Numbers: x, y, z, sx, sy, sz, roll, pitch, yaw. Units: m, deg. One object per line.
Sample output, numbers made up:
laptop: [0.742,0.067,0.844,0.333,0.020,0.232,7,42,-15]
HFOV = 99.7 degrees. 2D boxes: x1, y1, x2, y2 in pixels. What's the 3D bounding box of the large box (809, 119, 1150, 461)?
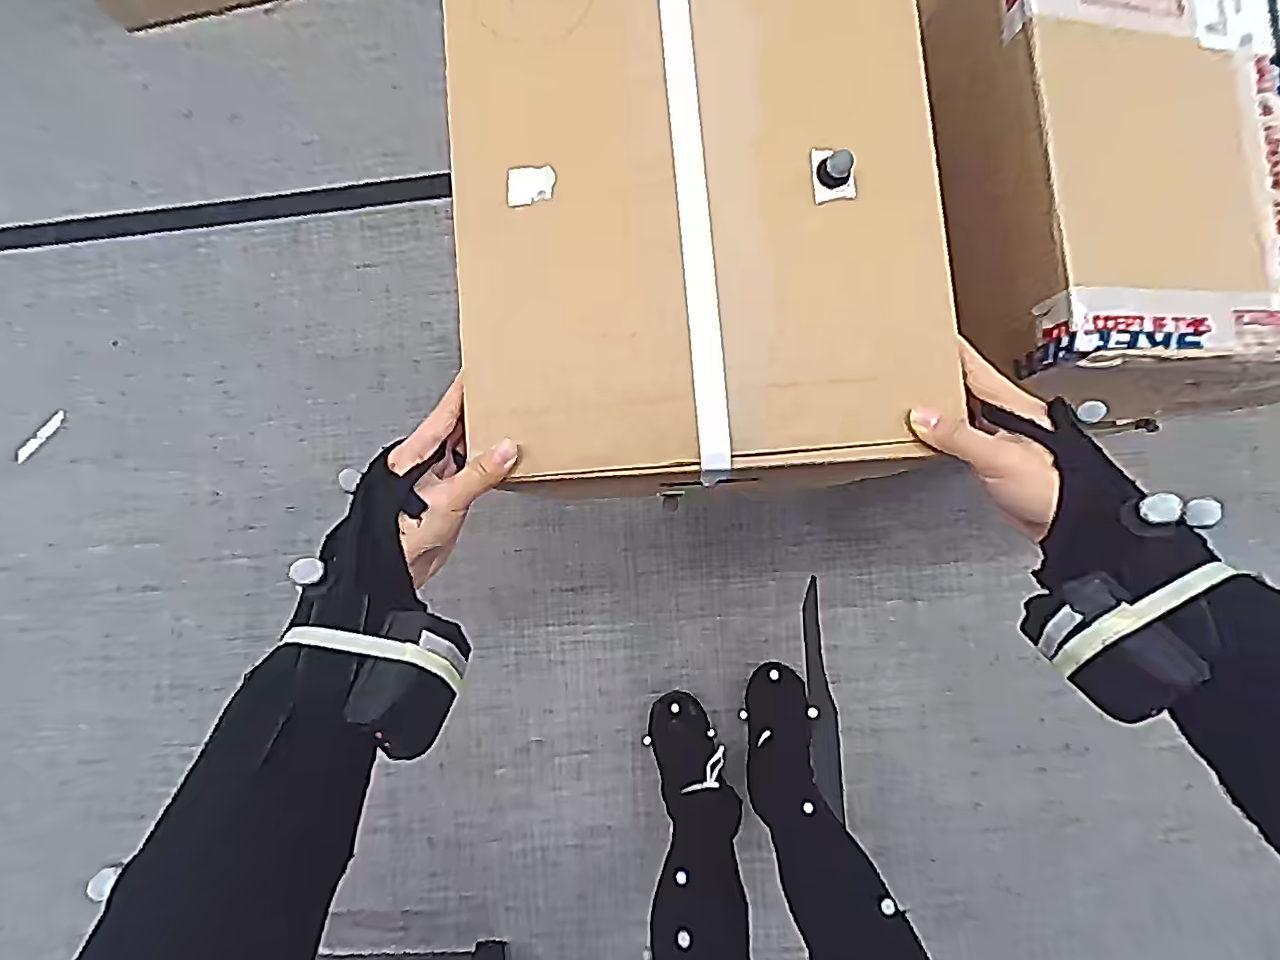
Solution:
large box: [0.477,-0.251,0.843,0.320,0.320,0.408,-6,88,3]
